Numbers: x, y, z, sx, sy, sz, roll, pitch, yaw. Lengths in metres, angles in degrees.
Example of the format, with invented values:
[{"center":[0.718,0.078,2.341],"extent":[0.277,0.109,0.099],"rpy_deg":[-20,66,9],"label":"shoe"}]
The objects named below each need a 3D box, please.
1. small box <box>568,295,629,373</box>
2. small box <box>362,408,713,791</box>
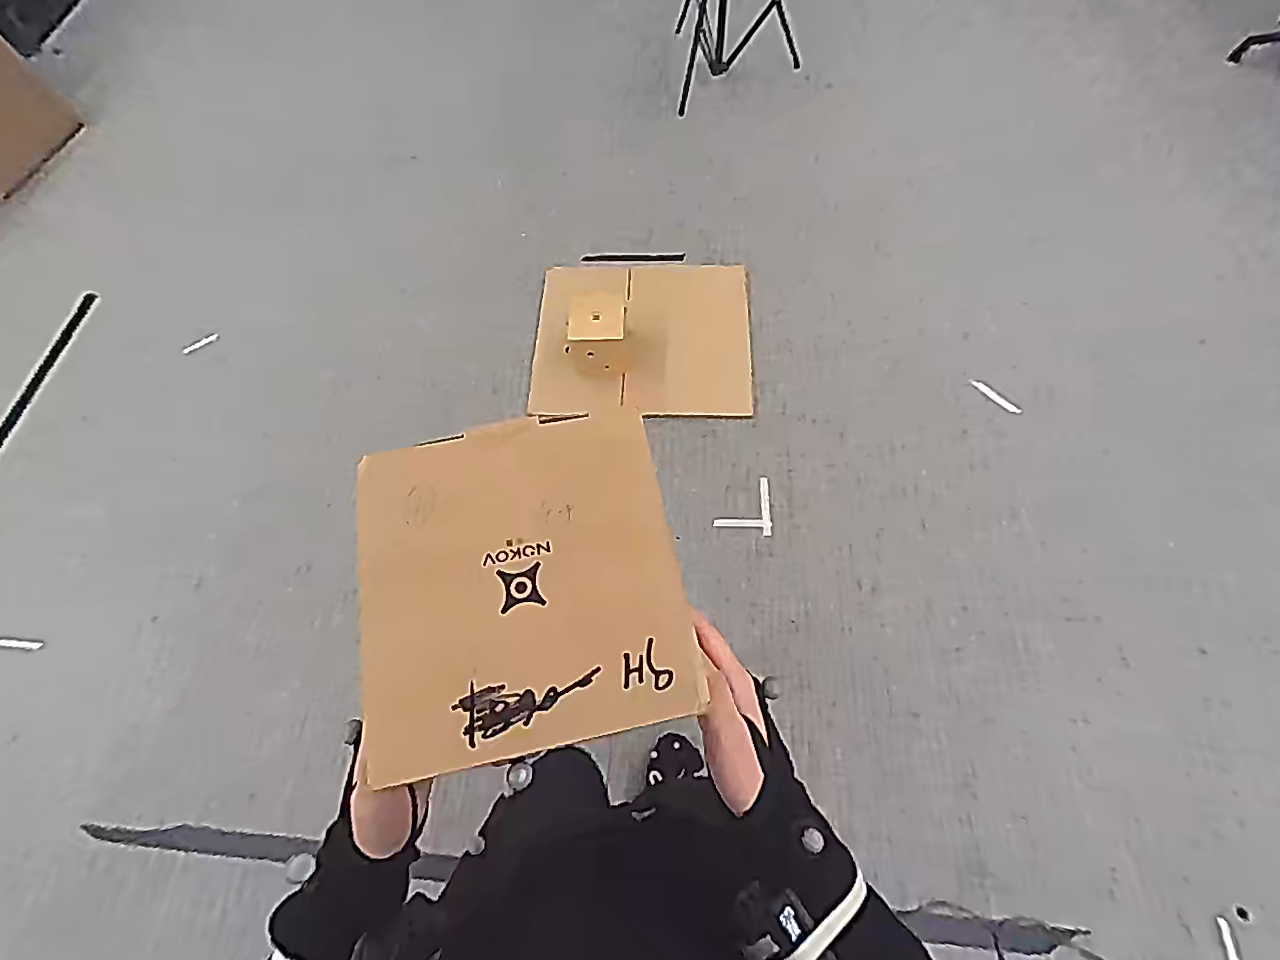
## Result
[{"center":[-0.122,-0.447,1.676],"extent":[0.168,0.176,0.179],"rpy_deg":[-1,66,3],"label":"small box"},{"center":[-0.060,0.081,0.356],"extent":[0.168,0.176,0.179],"rpy_deg":[-12,67,-4],"label":"small box"}]
